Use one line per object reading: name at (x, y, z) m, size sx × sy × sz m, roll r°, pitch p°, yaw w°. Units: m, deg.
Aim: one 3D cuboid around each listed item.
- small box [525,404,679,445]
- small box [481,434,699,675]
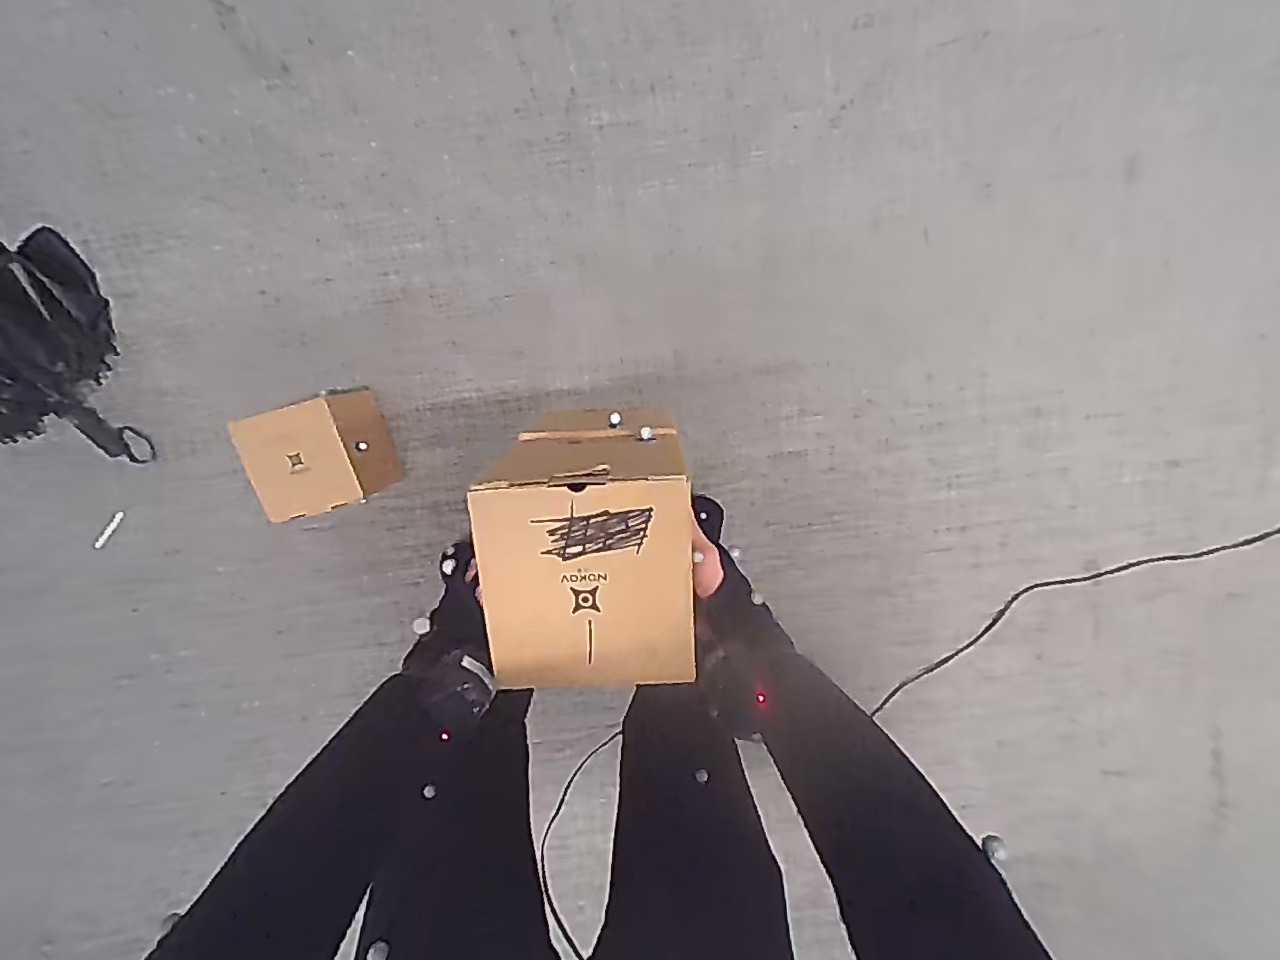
small box at (-0.035, 0.007, 0.663) m, size 0.168 × 0.176 × 0.179 m, roll -2°, pitch 105°, yaw 2°
small box at (-0.036, 0.055, 0.506) m, size 0.168 × 0.176 × 0.179 m, roll -3°, pitch 106°, yaw 2°
